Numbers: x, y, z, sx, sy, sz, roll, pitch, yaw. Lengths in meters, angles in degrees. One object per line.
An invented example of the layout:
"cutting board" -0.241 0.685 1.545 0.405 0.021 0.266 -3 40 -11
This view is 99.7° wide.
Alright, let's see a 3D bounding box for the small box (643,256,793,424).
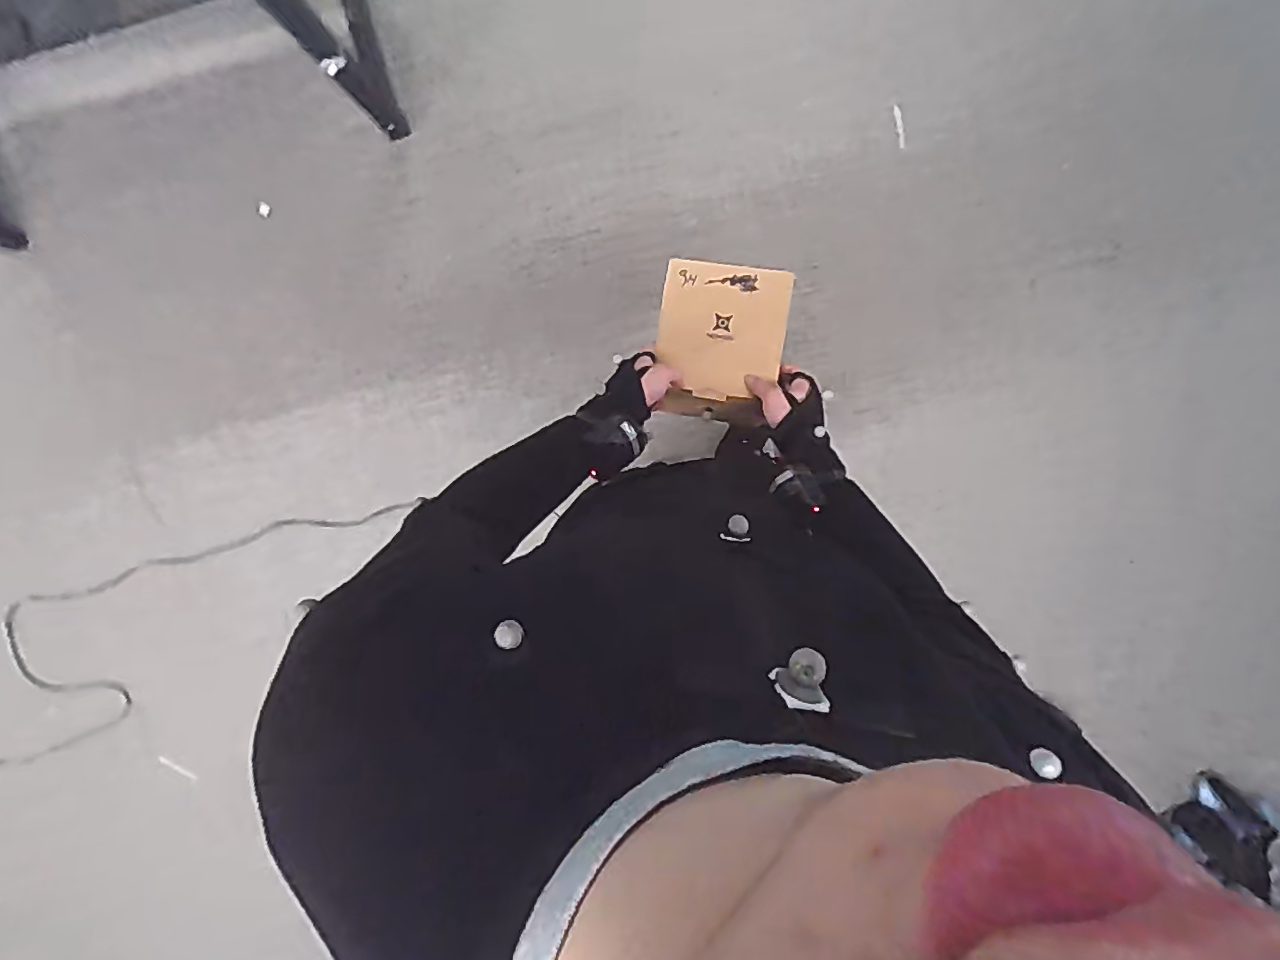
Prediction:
"small box" 0.107 -0.184 0.760 0.168 0.176 0.179 10 87 6
